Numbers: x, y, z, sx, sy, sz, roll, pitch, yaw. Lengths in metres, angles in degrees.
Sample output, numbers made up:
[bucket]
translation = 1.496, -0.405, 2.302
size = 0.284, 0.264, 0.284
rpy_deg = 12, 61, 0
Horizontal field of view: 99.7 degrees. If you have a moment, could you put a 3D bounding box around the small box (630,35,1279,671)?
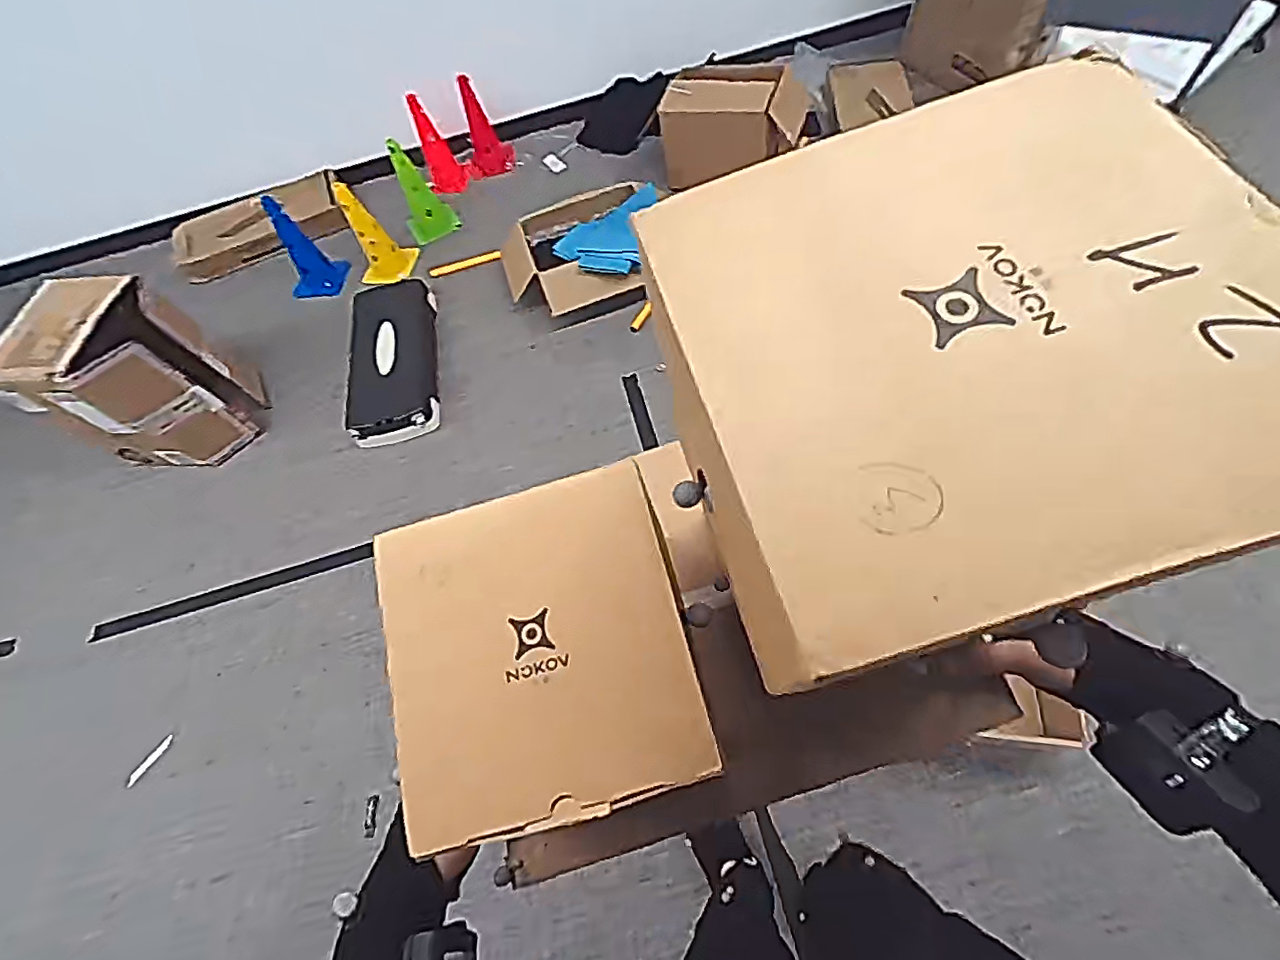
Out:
[small box]
translation = 0.111, -0.026, 0.229
size = 0.179, 0.176, 0.168
rpy_deg = -17, 66, 2
